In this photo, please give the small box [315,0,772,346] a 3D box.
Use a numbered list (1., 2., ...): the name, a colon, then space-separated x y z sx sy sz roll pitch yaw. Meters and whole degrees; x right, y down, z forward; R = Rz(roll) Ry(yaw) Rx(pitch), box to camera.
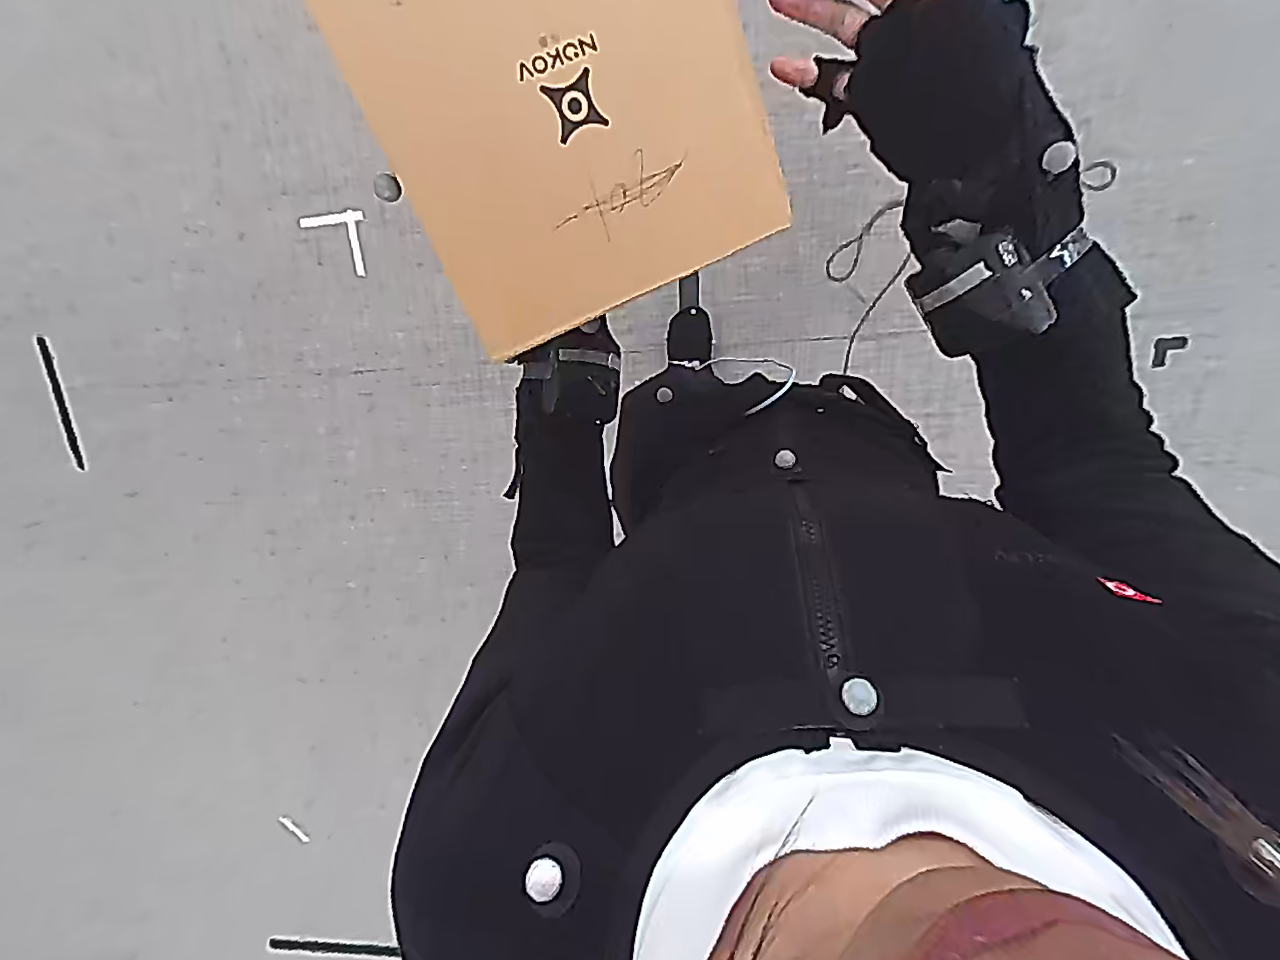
1. small box: -0.052 -0.194 0.321 0.168 0.176 0.179 -26 111 -4
